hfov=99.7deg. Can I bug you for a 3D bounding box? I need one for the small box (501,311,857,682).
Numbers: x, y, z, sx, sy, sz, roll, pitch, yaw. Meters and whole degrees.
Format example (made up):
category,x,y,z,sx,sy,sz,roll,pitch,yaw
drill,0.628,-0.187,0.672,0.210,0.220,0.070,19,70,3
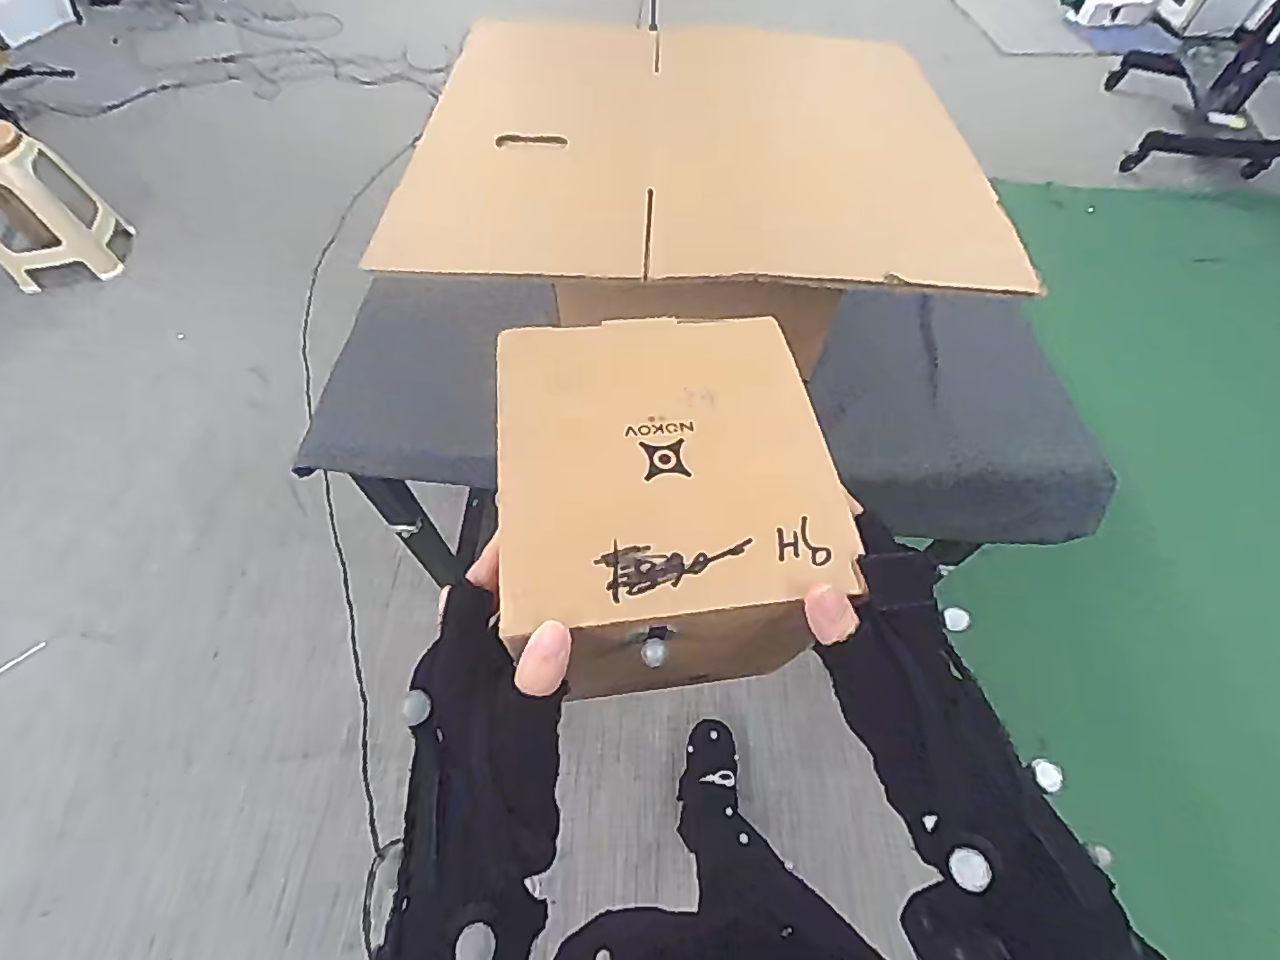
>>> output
category,x,y,z,sx,sy,sz,roll,pitch,yaw
small box,0.007,0.016,0.353,0.168,0.176,0.179,-5,58,-6
